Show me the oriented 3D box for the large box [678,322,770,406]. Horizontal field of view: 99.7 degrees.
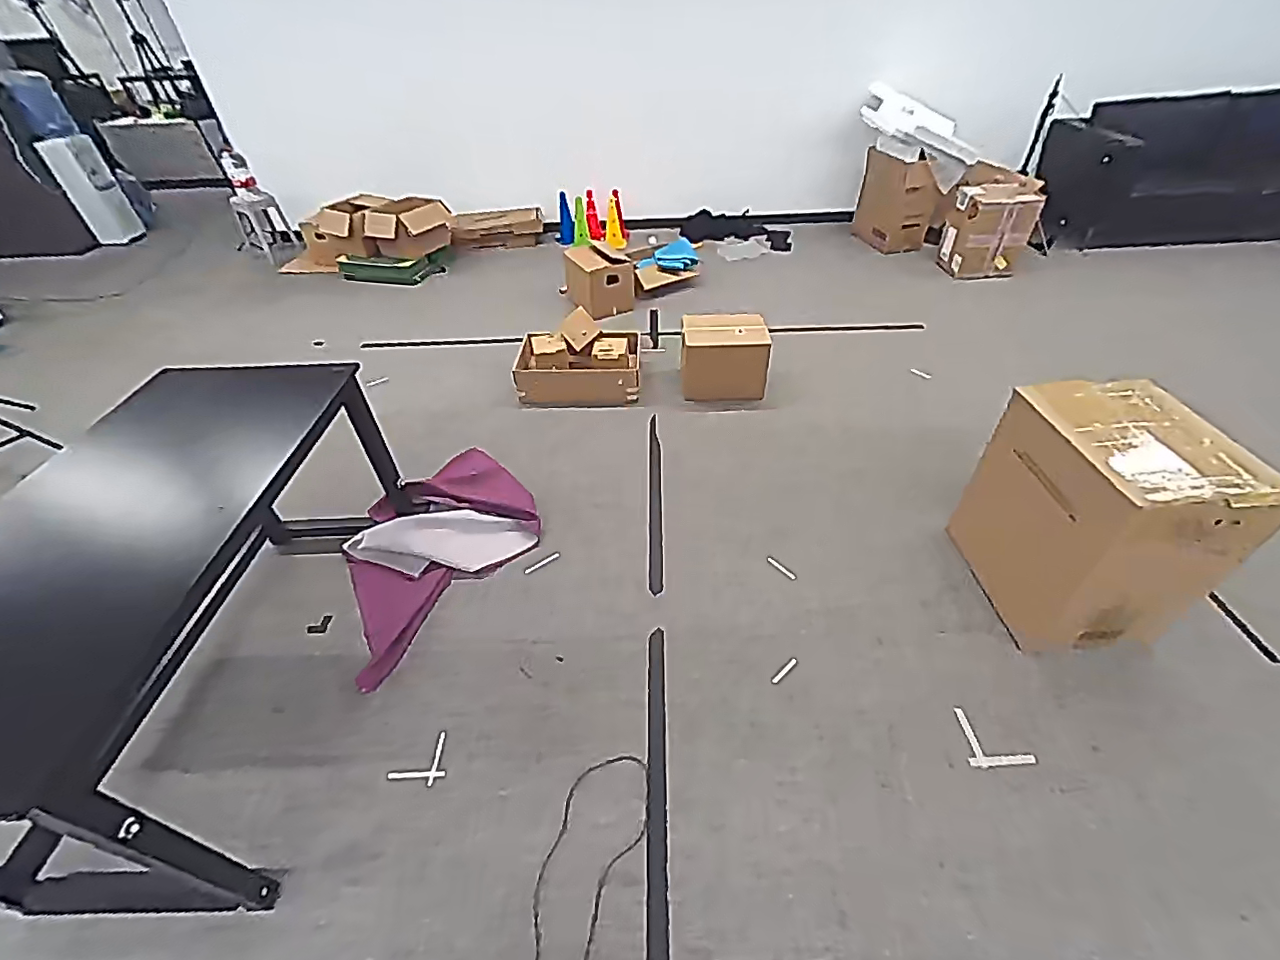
[{"bbox_3d":[0.409,-0.587,2.732,0.408,0.320,0.320,-1,42,0],"label":"large box"}]
